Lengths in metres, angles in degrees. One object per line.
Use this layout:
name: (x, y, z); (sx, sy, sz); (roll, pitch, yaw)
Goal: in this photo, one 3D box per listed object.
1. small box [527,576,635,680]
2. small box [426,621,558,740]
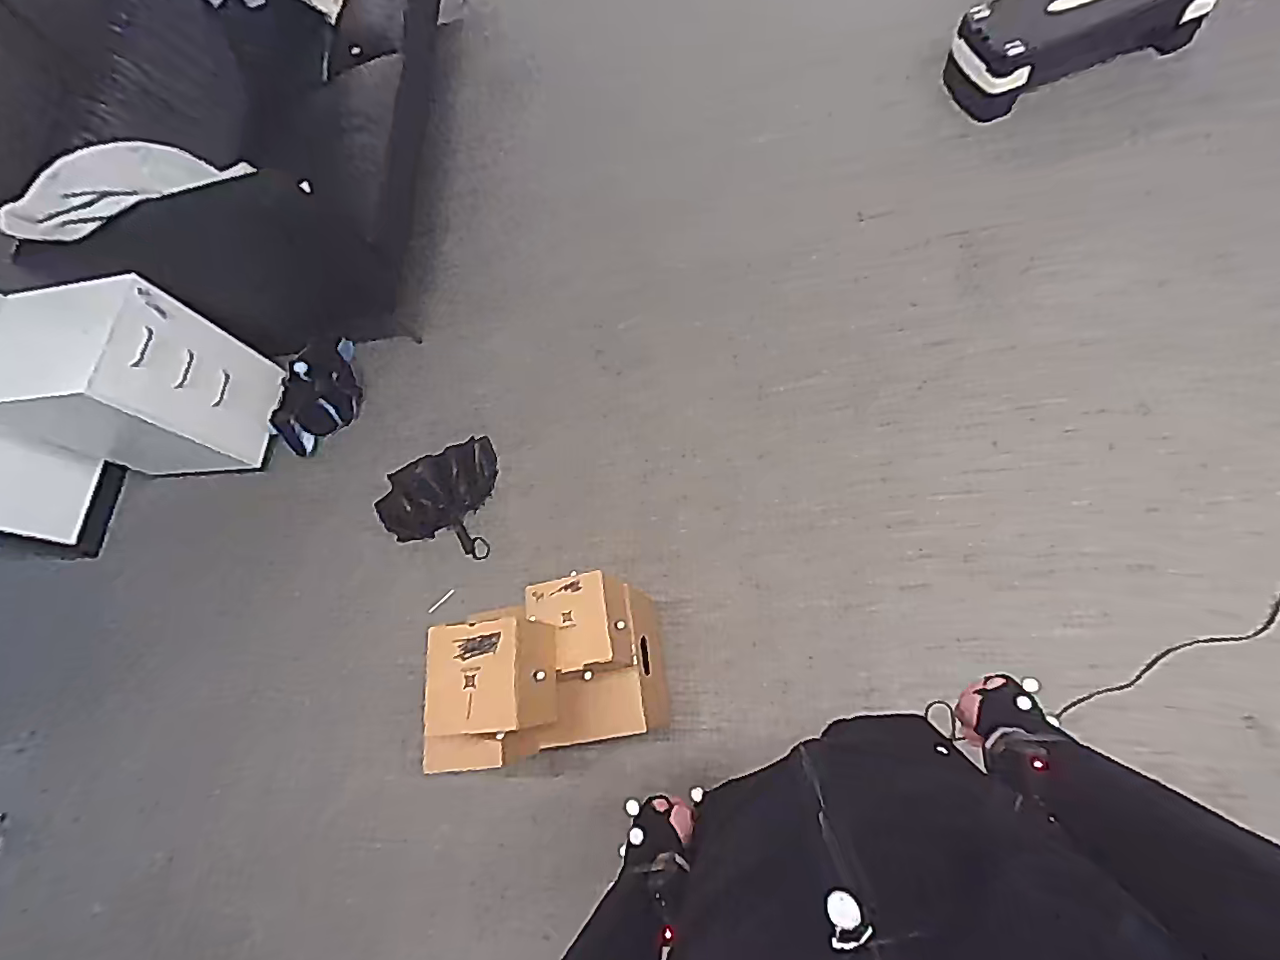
small box: (-0.118, 0.313, 1.121); (0.168, 0.176, 0.179); (-14, 66, 9)
small box: (-0.253, 0.354, 0.960); (0.168, 0.176, 0.179); (-10, 69, 12)
